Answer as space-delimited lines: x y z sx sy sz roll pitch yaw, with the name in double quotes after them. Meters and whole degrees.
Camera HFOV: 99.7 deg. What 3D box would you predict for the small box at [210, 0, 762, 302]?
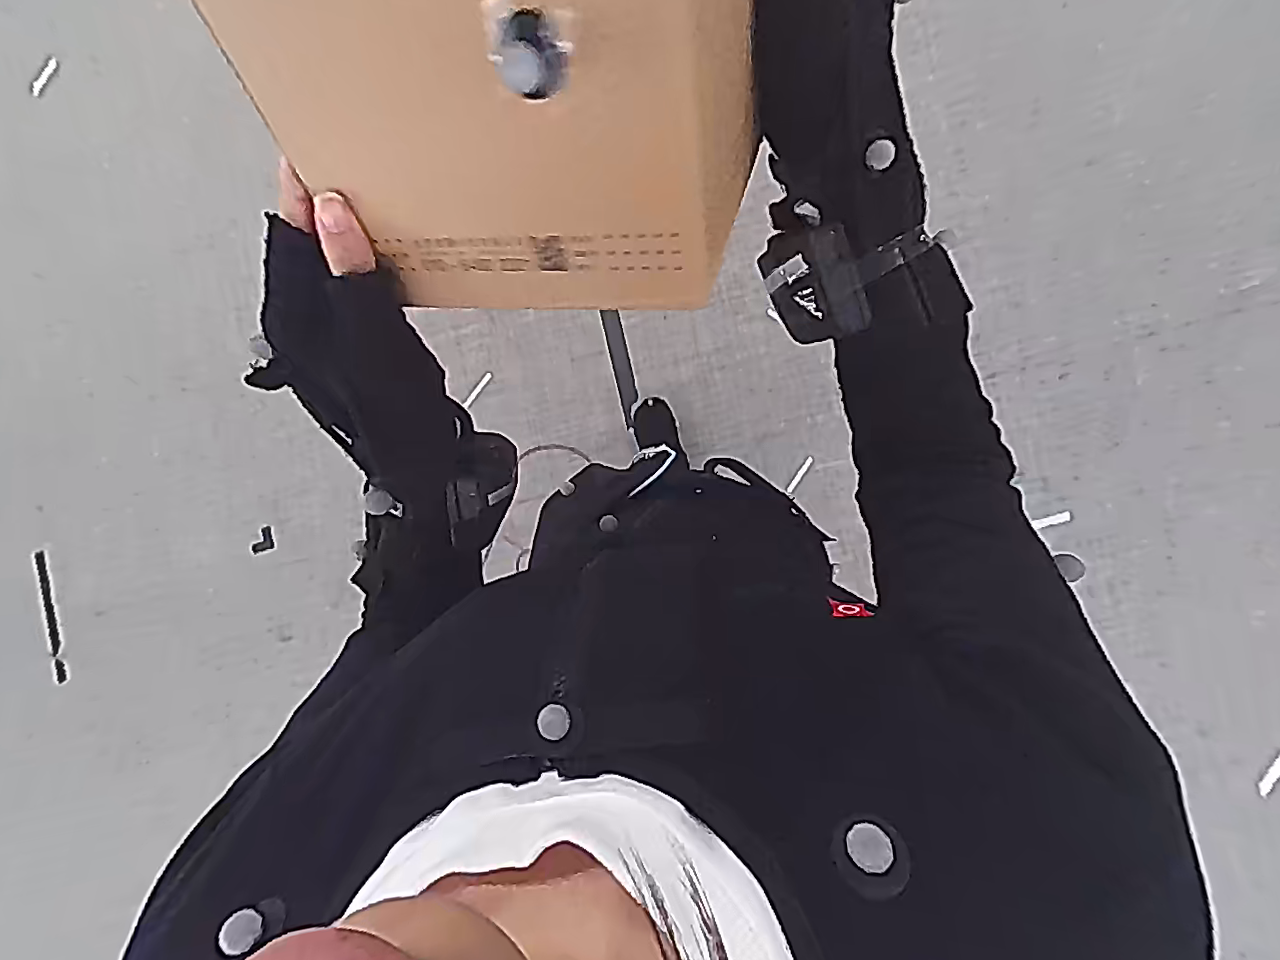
-0.043 -0.195 0.232 0.168 0.176 0.179 9 53 19 "small box"
